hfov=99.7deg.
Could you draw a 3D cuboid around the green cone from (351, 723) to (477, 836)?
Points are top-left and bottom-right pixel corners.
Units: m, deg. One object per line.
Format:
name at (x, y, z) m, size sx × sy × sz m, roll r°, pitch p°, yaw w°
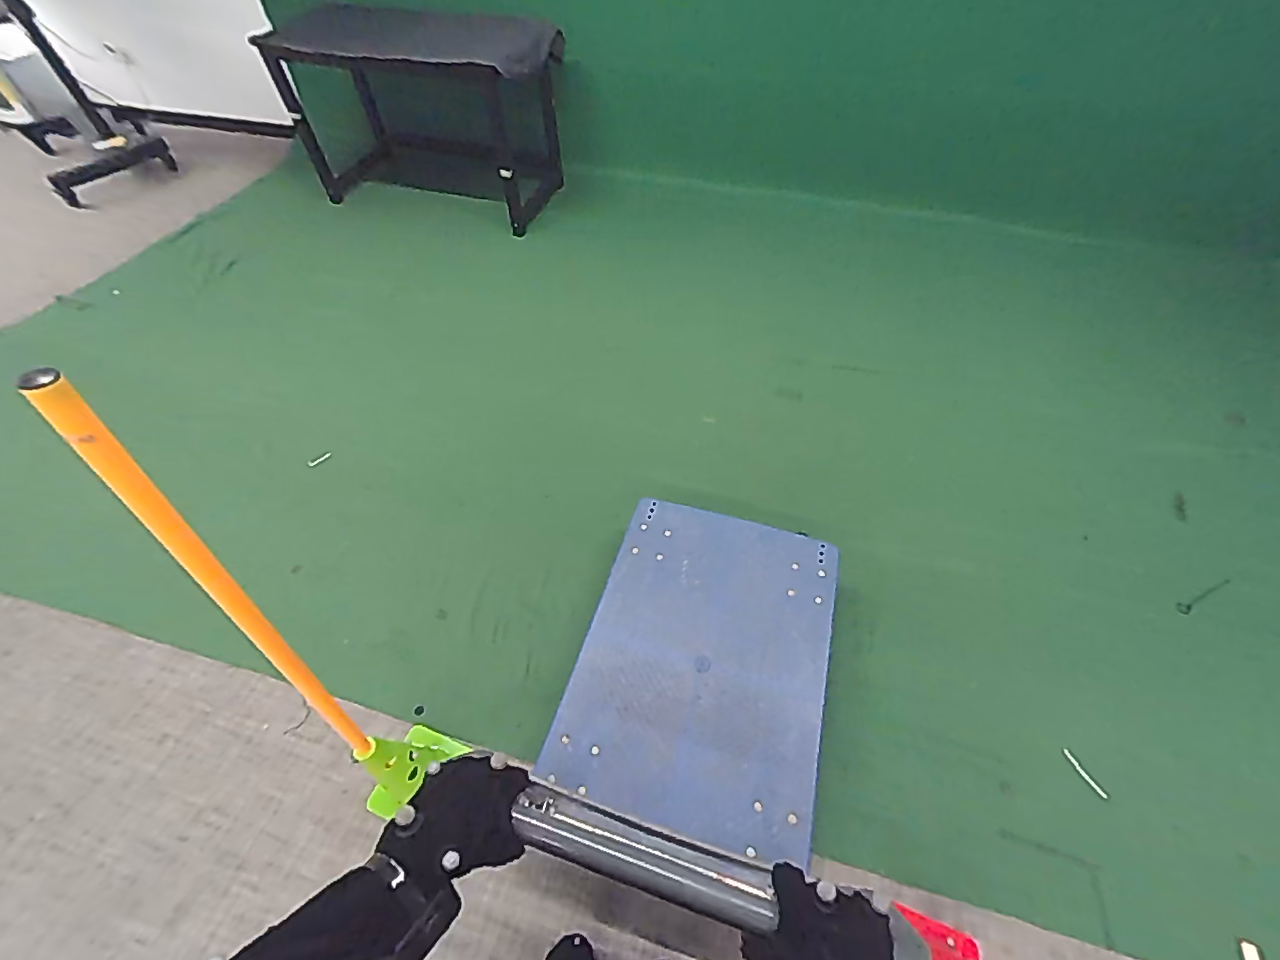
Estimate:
green cone at (-0.519, 0.605, 1.163) m, size 0.202 × 0.368 × 0.200 m, roll 16°, pitch 53°, yaw 13°
